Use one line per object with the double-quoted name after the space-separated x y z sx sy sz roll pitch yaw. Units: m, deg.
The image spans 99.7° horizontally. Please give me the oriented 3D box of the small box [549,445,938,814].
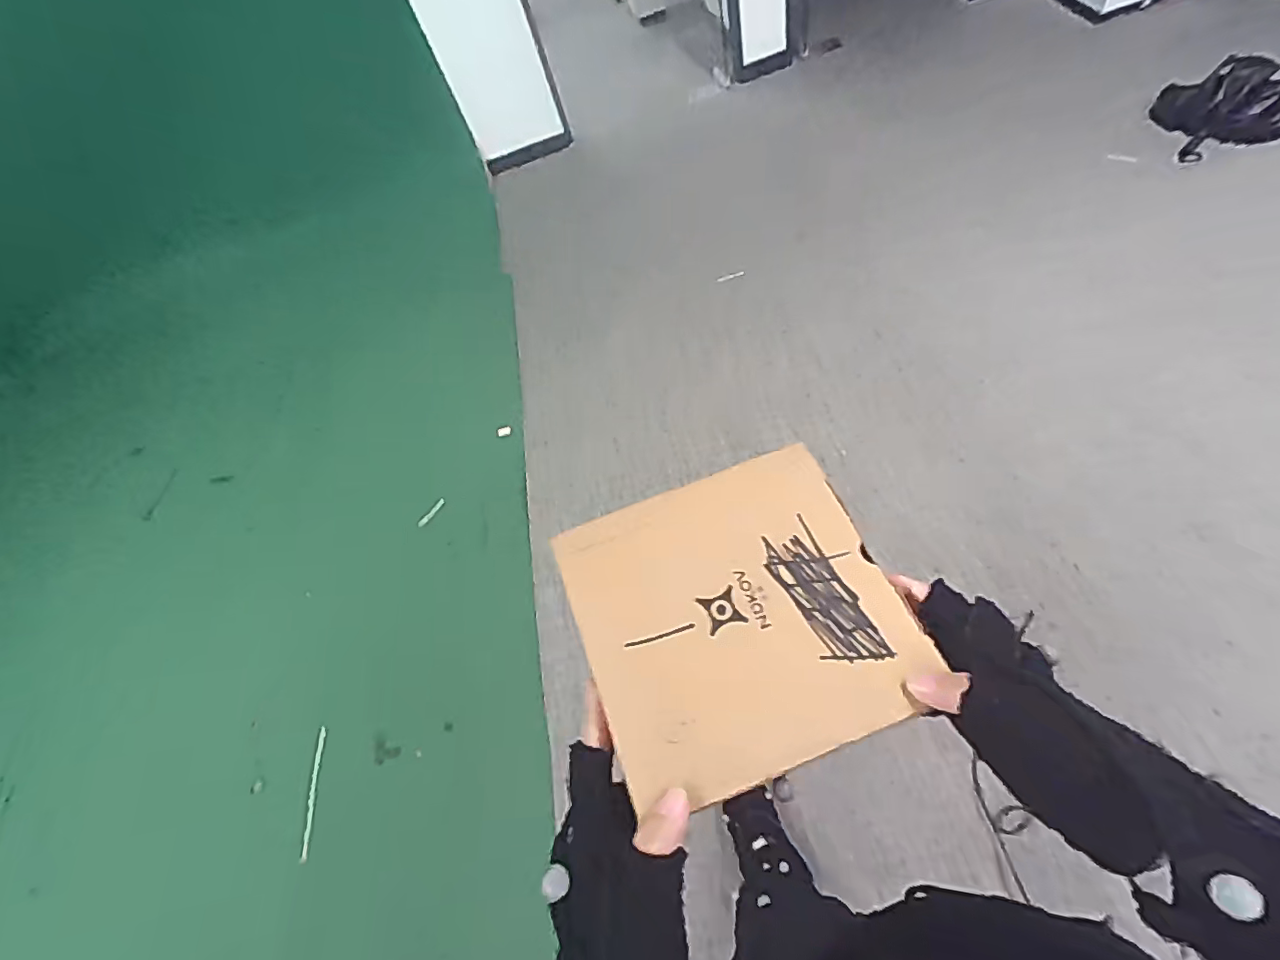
0.055 0.108 0.378 0.179 0.176 0.168 -20 60 -5 "small box"
